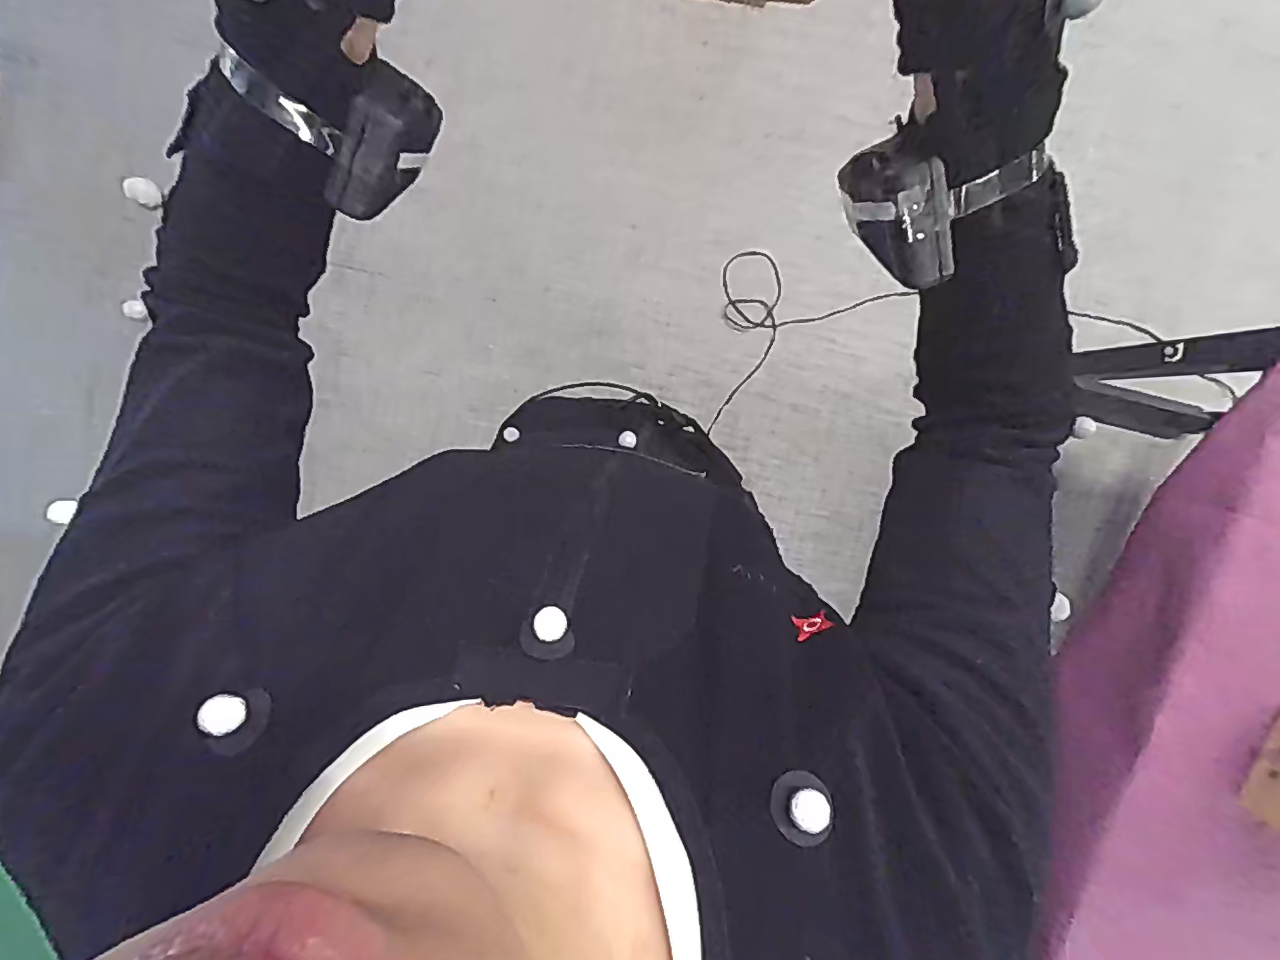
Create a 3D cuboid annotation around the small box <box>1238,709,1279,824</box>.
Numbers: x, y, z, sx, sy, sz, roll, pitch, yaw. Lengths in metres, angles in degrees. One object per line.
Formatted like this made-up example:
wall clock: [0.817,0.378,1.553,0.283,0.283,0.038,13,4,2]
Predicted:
small box: [0.963,0.416,0.693,0.179,0.176,0.168,18,97,-1]
